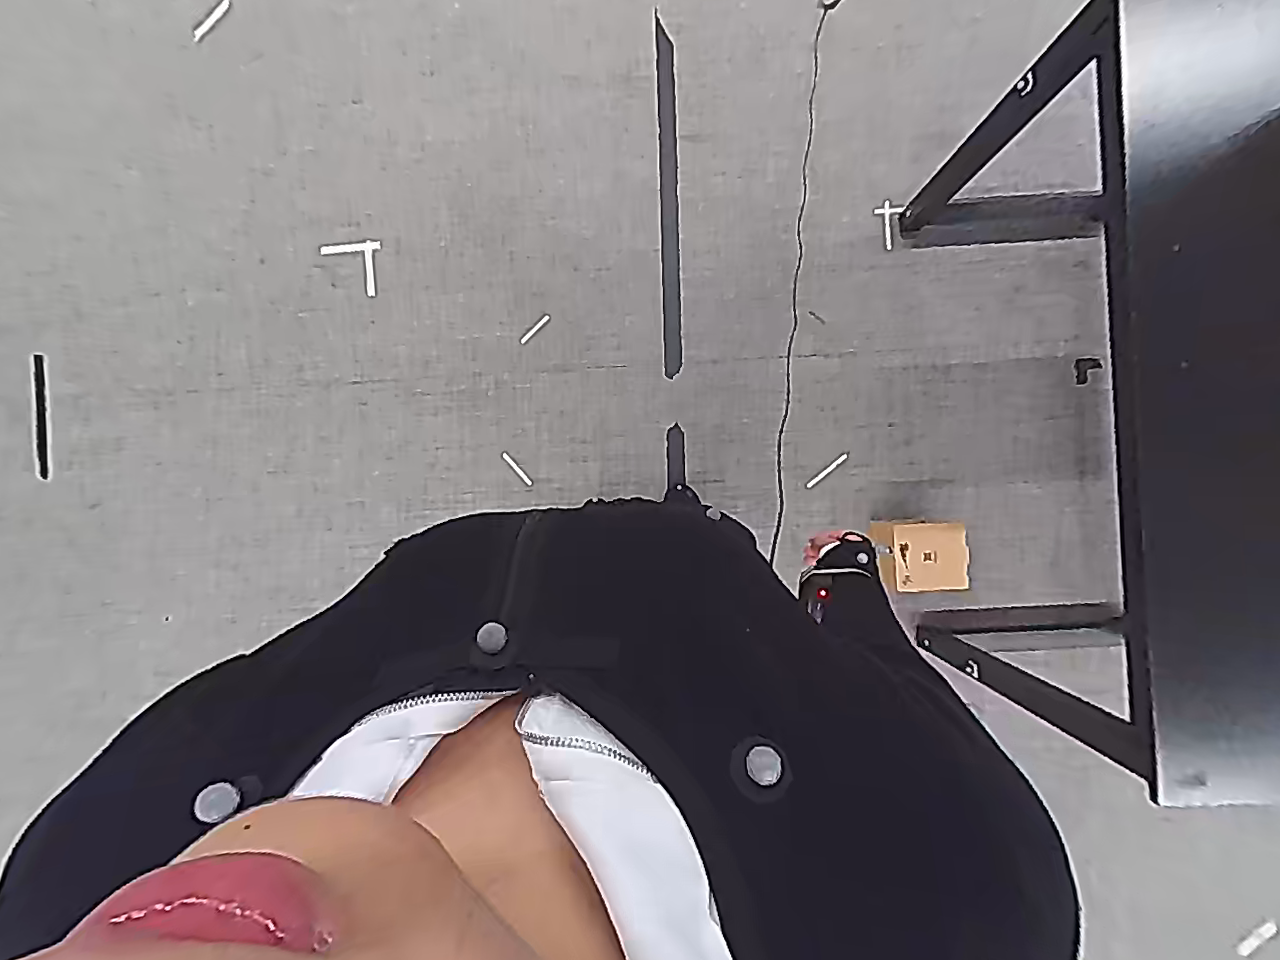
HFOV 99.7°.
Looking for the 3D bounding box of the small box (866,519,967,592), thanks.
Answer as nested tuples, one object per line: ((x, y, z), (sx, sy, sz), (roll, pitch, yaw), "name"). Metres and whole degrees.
((0.707, 0.190, 1.396), (0.179, 0.176, 0.168), (-3, 88, 1), "small box")
